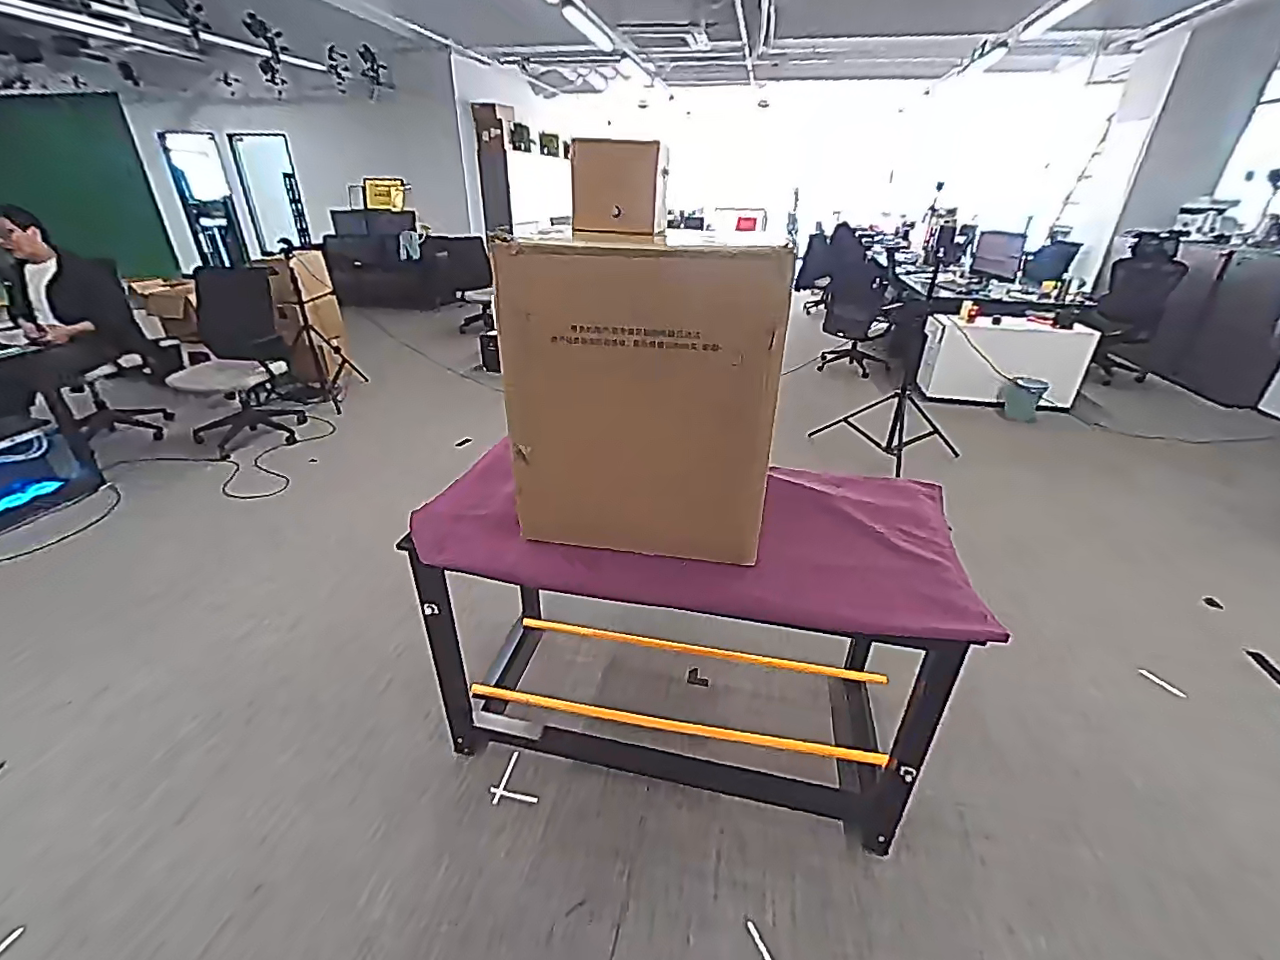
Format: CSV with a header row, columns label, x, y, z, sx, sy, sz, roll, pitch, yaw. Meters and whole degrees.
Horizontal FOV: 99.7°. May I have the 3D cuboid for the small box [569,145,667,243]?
label,x,y,z,sx,sy,sz,roll,pitch,yaw
small box,-0.043,-0.596,1.134,0.179,0.176,0.168,6,29,10
